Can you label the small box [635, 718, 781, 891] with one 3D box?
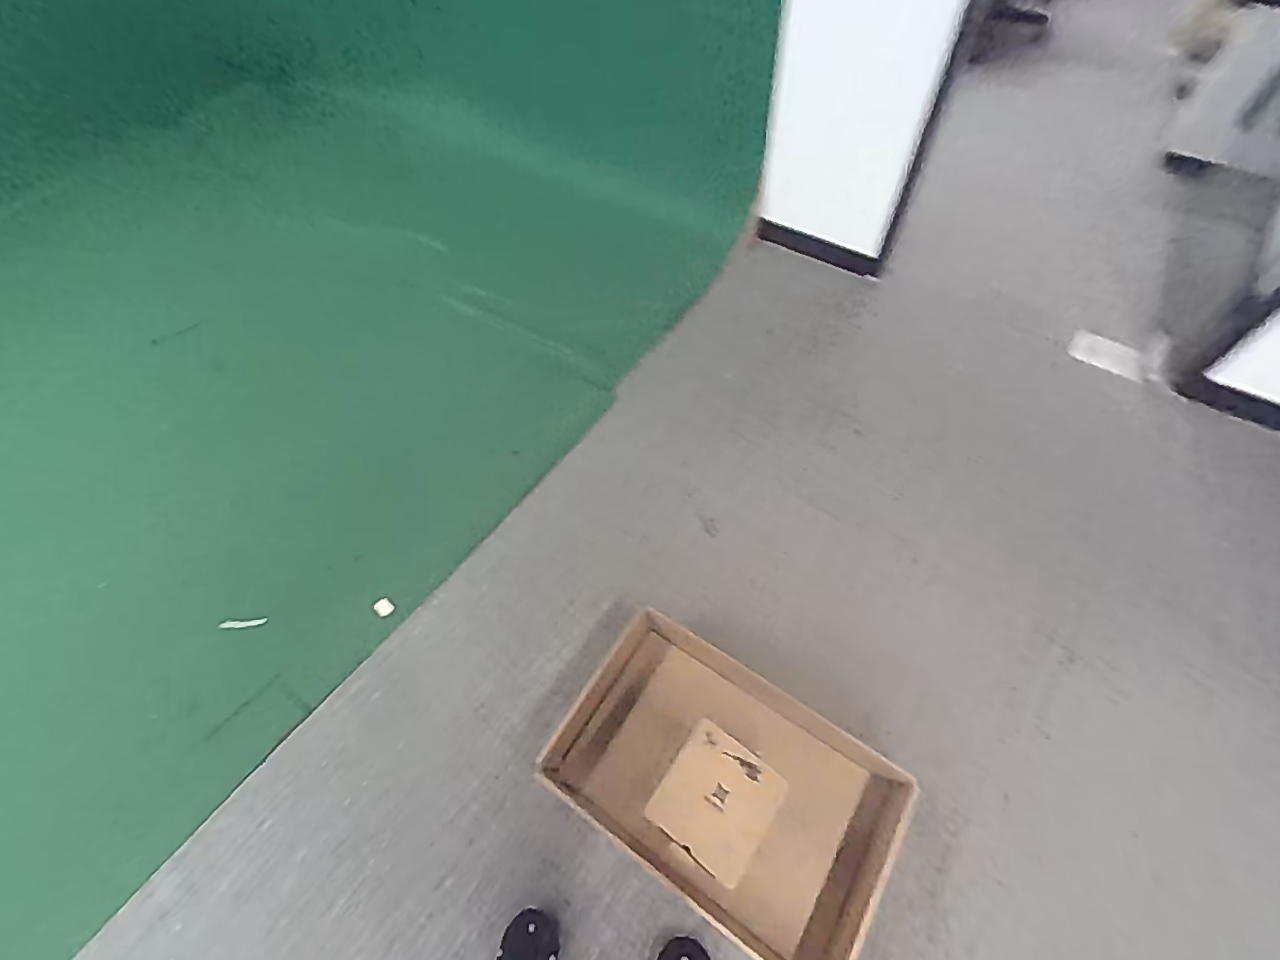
[{"bbox_3d":[0.112,0.537,0.907,0.168,0.176,0.179,33,66,21],"label":"small box"}]
